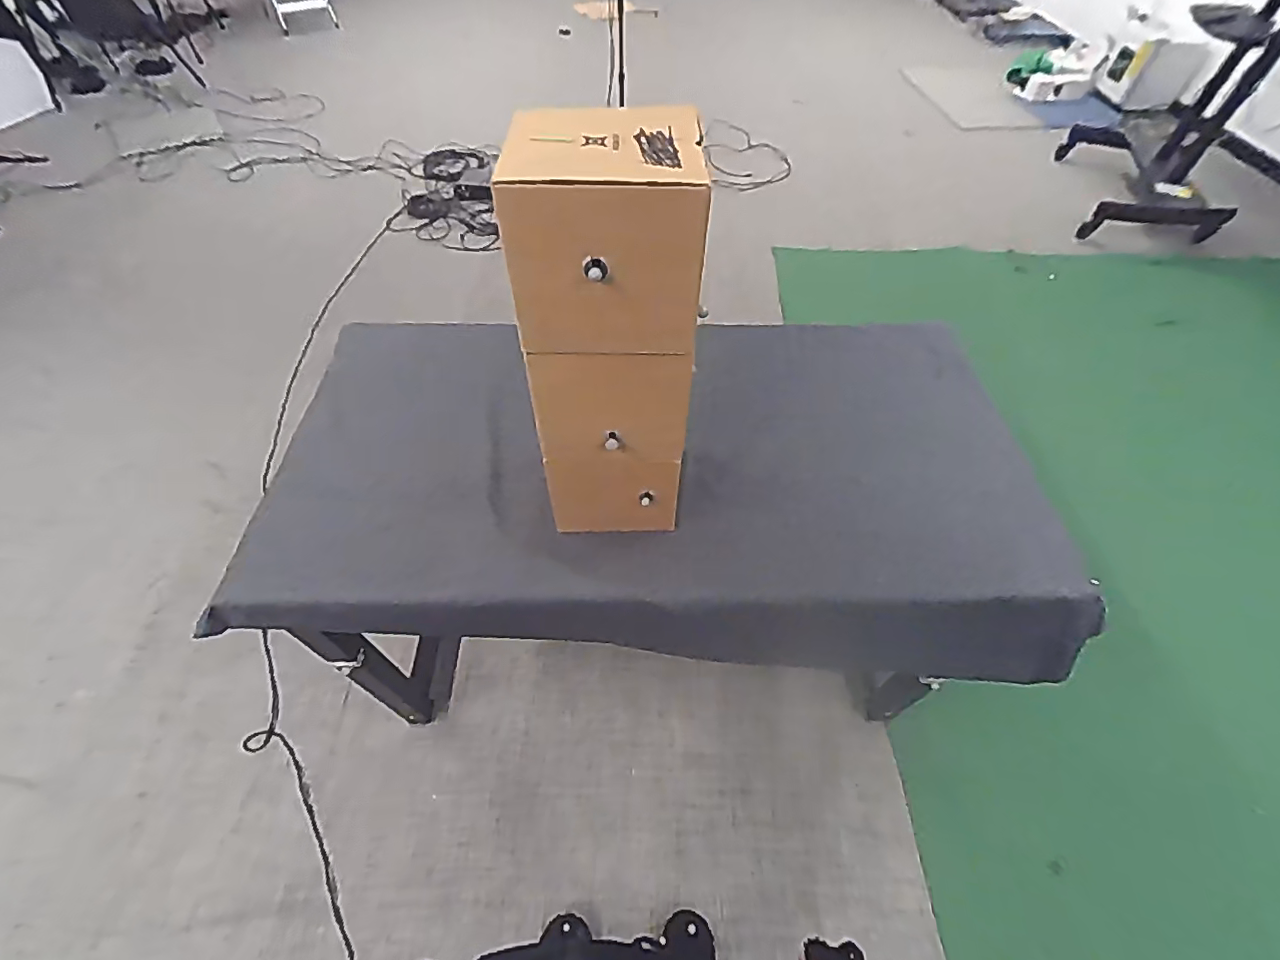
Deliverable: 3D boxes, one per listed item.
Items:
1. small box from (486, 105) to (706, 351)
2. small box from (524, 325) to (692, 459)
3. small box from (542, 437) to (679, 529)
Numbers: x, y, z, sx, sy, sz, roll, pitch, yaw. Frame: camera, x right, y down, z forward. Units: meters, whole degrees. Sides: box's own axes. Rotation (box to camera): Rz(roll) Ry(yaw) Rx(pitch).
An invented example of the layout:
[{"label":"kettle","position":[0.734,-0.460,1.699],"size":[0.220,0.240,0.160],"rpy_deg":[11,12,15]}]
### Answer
[{"label":"small box","position":[-0.035,-0.242,0.535],"size":[0.179,0.176,0.168],"rpy_deg":[0,52,0]},{"label":"small box","position":[-0.038,-0.139,0.666],"size":[0.179,0.176,0.168],"rpy_deg":[-3,53,-2]},{"label":"small box","position":[-0.040,-0.040,0.793],"size":[0.179,0.176,0.168],"rpy_deg":[-2,52,-1]}]
